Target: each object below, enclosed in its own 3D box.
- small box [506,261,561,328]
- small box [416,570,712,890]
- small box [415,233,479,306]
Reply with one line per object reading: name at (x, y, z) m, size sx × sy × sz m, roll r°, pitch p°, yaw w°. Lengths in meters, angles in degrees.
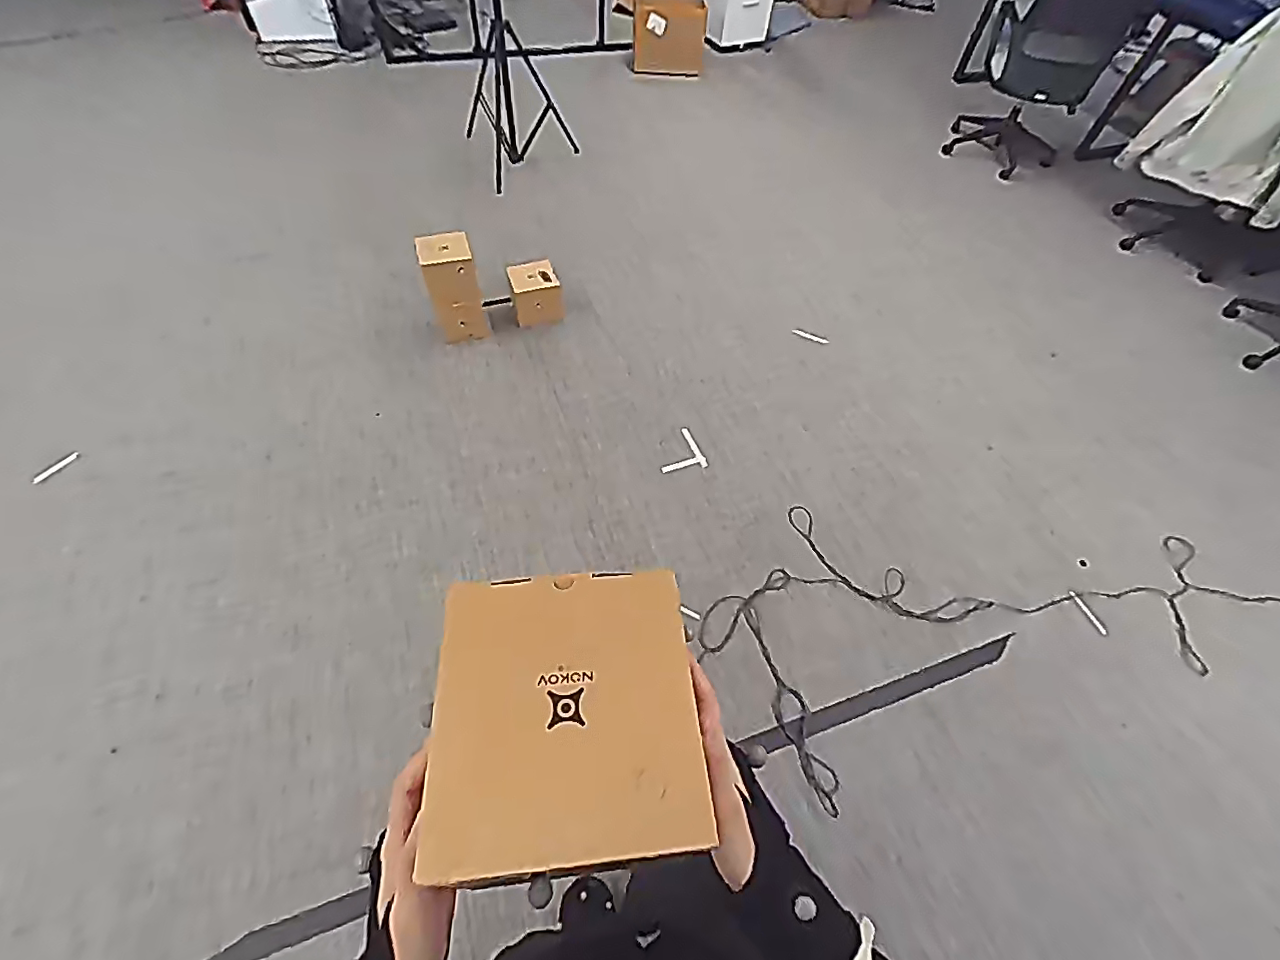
small box at (-0.413, -0.728, 2.127) m, size 0.179 × 0.176 × 0.168 m, roll -16°, pitch 59°, yaw -13°
small box at (-0.051, 0.189, 0.405) m, size 0.168 × 0.176 × 0.179 m, roll -3°, pitch 52°, yaw -7°
small box at (-0.678, -0.744, 1.918) m, size 0.179 × 0.176 × 0.168 m, roll -15°, pitch 57°, yaw -14°
